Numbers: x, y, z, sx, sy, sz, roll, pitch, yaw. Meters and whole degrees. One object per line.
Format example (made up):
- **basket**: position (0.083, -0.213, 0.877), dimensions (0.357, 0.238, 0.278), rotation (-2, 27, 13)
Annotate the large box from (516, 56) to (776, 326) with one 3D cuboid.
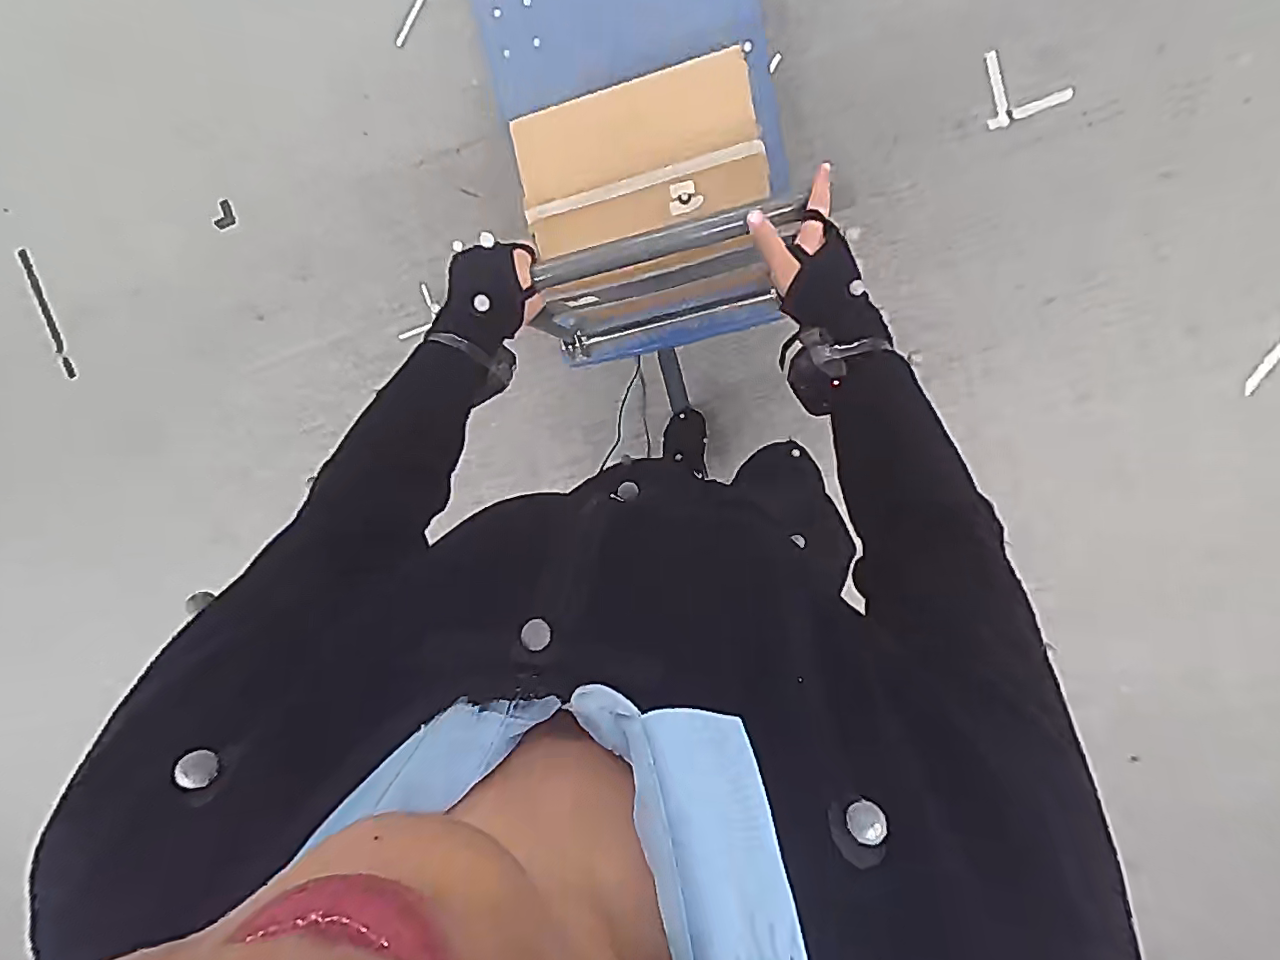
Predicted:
- **large box**: position (0.025, -0.520, 1.067), dimensions (0.408, 0.320, 0.320), rotation (-11, 99, 10)
